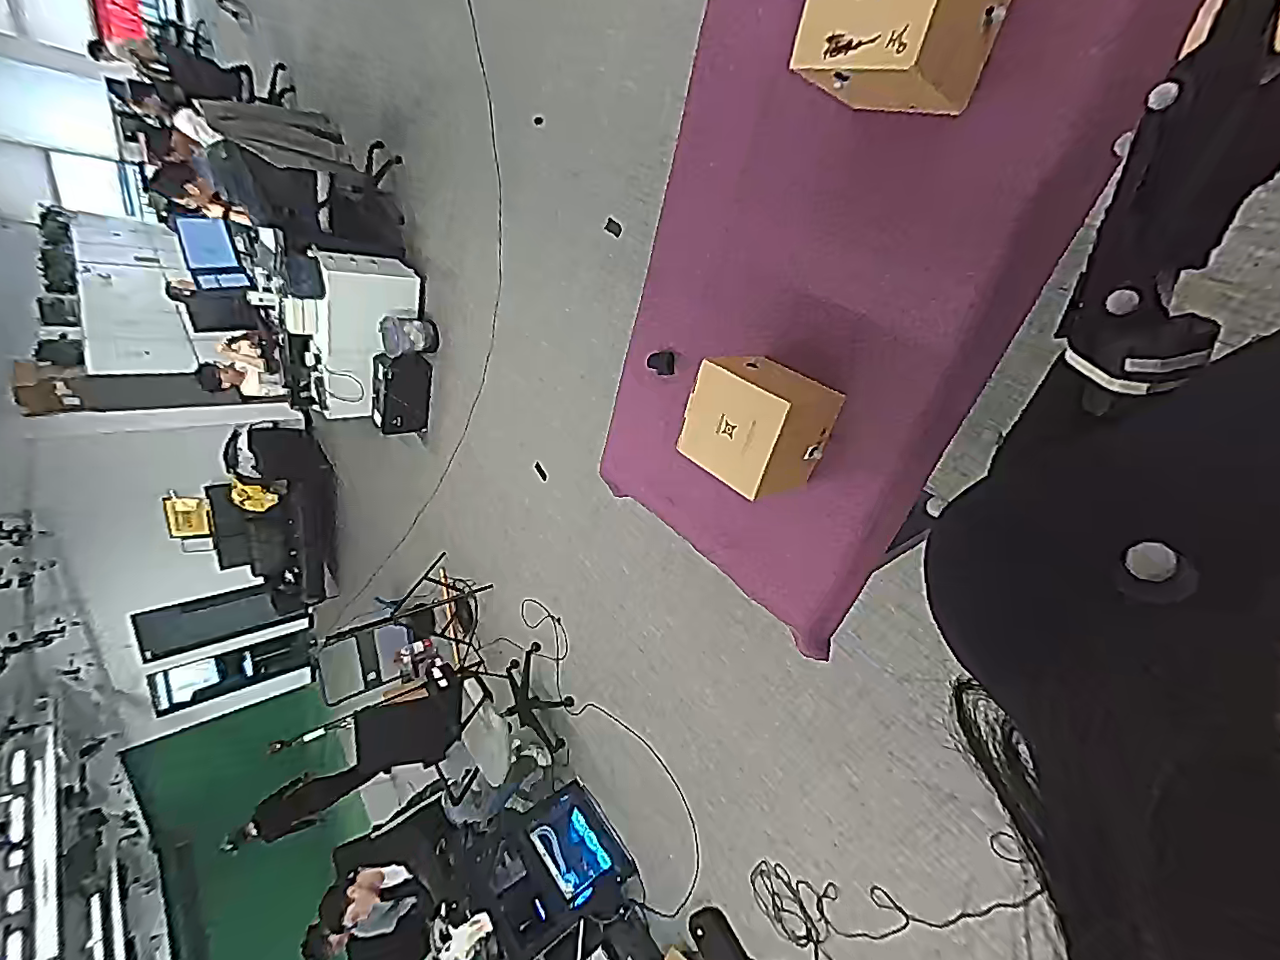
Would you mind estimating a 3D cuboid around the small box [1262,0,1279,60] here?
[{"bbox_3d":[0.421,-0.325,0.240,0.168,0.176,0.179,7,116,42],"label":"small box"}]

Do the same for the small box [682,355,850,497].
[{"bbox_3d":[0.202,-0.096,0.880,0.179,0.176,0.168,37,126,36],"label":"small box"}]

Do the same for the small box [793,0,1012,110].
[{"bbox_3d":[0.317,-0.565,0.633,0.168,0.176,0.179,36,124,38],"label":"small box"}]
